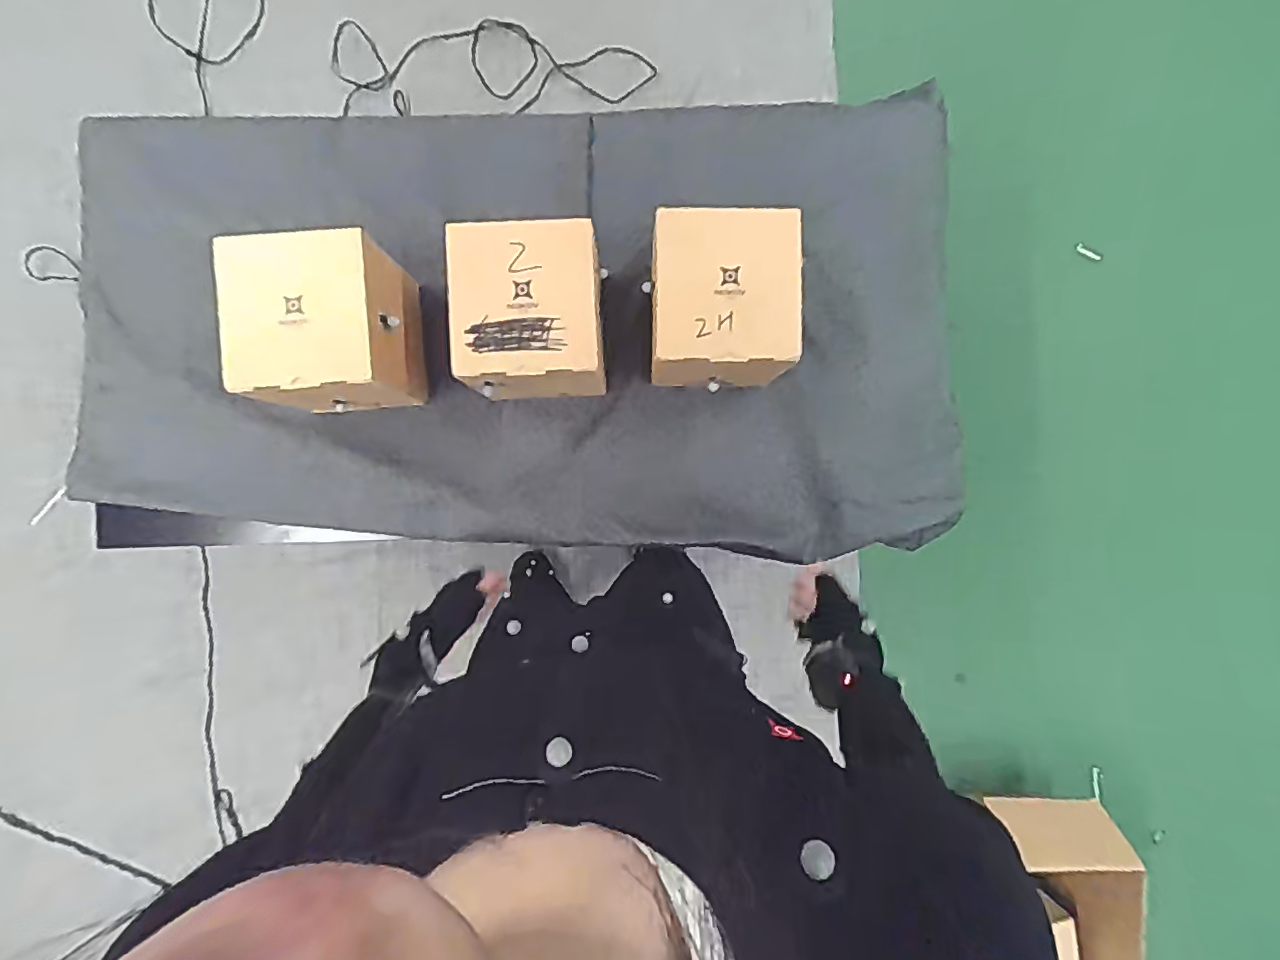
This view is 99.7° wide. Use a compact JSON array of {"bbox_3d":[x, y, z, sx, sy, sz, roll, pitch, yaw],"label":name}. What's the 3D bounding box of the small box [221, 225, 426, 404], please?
[{"bbox_3d":[-0.389,-0.200,0.692,0.168,0.176,0.179,-4,91,-1],"label":"small box"}]
